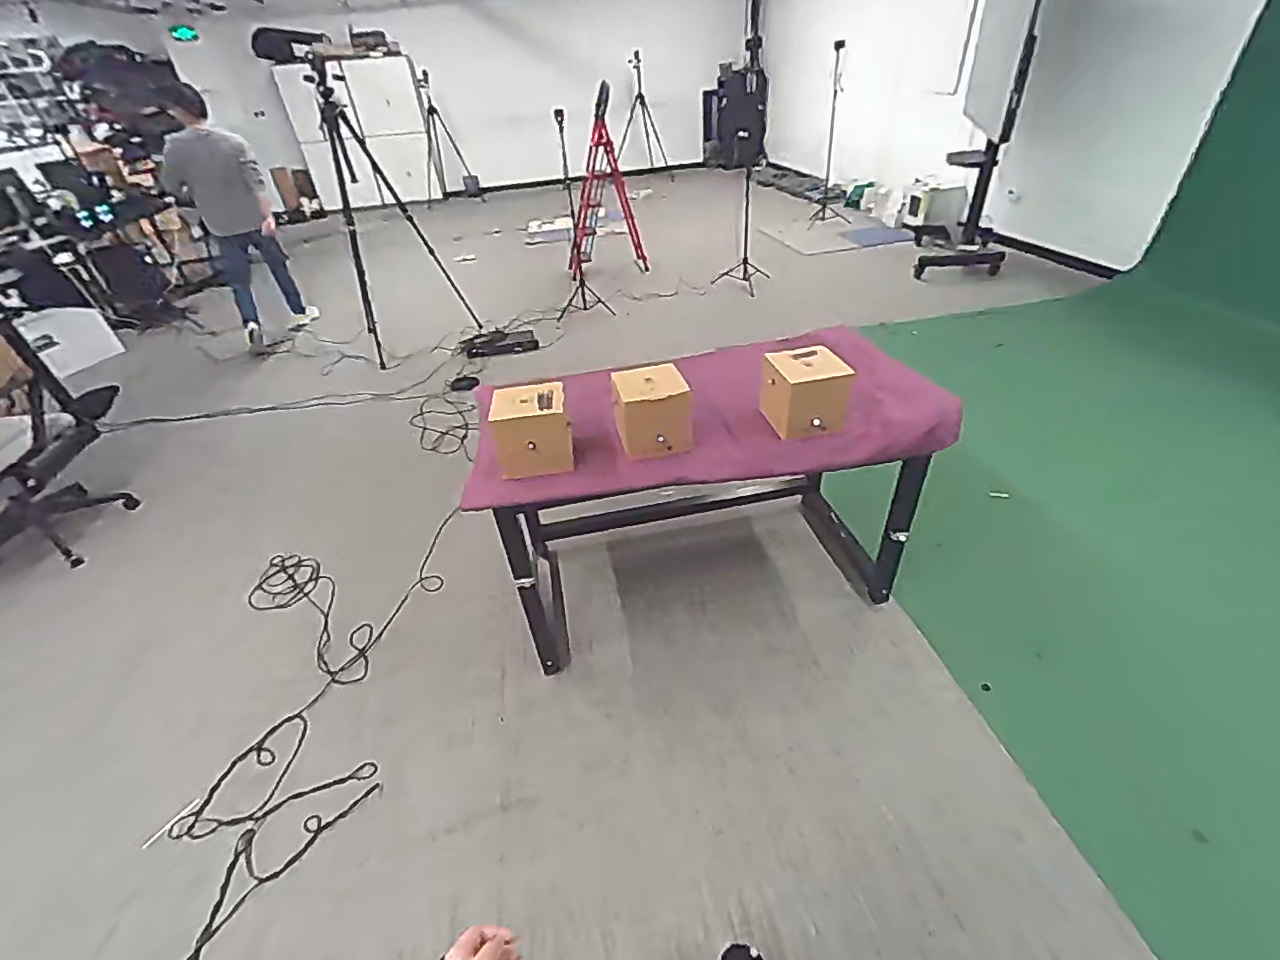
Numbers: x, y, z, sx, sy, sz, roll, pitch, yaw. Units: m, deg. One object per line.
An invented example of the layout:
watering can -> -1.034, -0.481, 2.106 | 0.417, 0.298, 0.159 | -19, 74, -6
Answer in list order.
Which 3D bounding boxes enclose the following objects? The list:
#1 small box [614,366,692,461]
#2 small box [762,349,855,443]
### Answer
small box -> 0.032, -0.170, 1.372 | 0.168, 0.176, 0.179 | -11, 36, -7
small box -> 0.423, -0.217, 1.393 | 0.168, 0.176, 0.179 | -10, 38, -6
